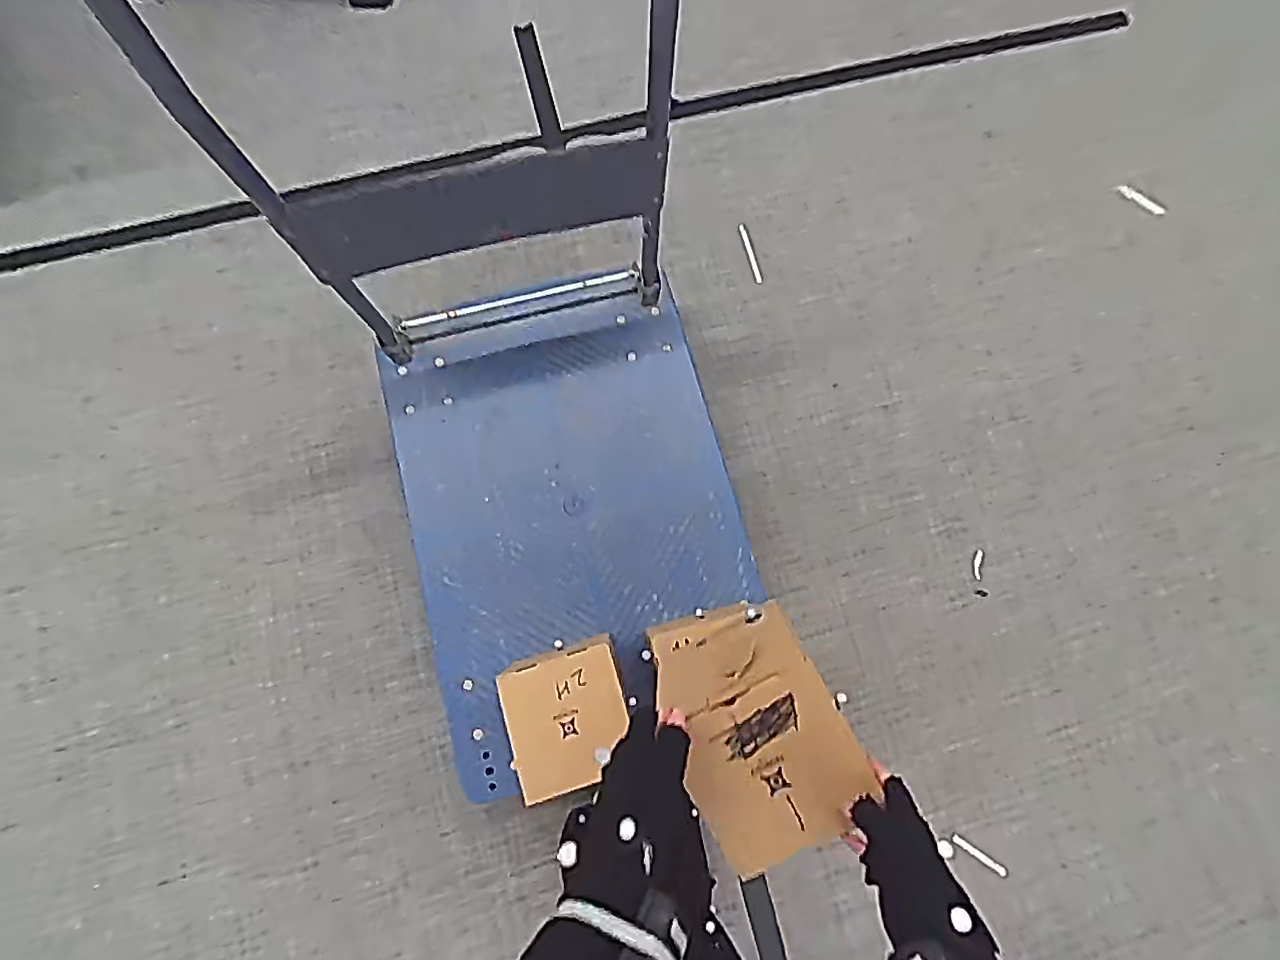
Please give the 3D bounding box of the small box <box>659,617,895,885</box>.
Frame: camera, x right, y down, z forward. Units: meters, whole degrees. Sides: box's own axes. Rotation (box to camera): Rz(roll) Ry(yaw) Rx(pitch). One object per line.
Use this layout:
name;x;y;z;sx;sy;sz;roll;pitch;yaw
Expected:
small box;0.133;0.272;0.590;0.168;0.176;0.179;-31;95;8

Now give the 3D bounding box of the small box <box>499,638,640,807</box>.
small box;-0.100;0.356;0.829;0.168;0.176;0.179;-16;79;-6
